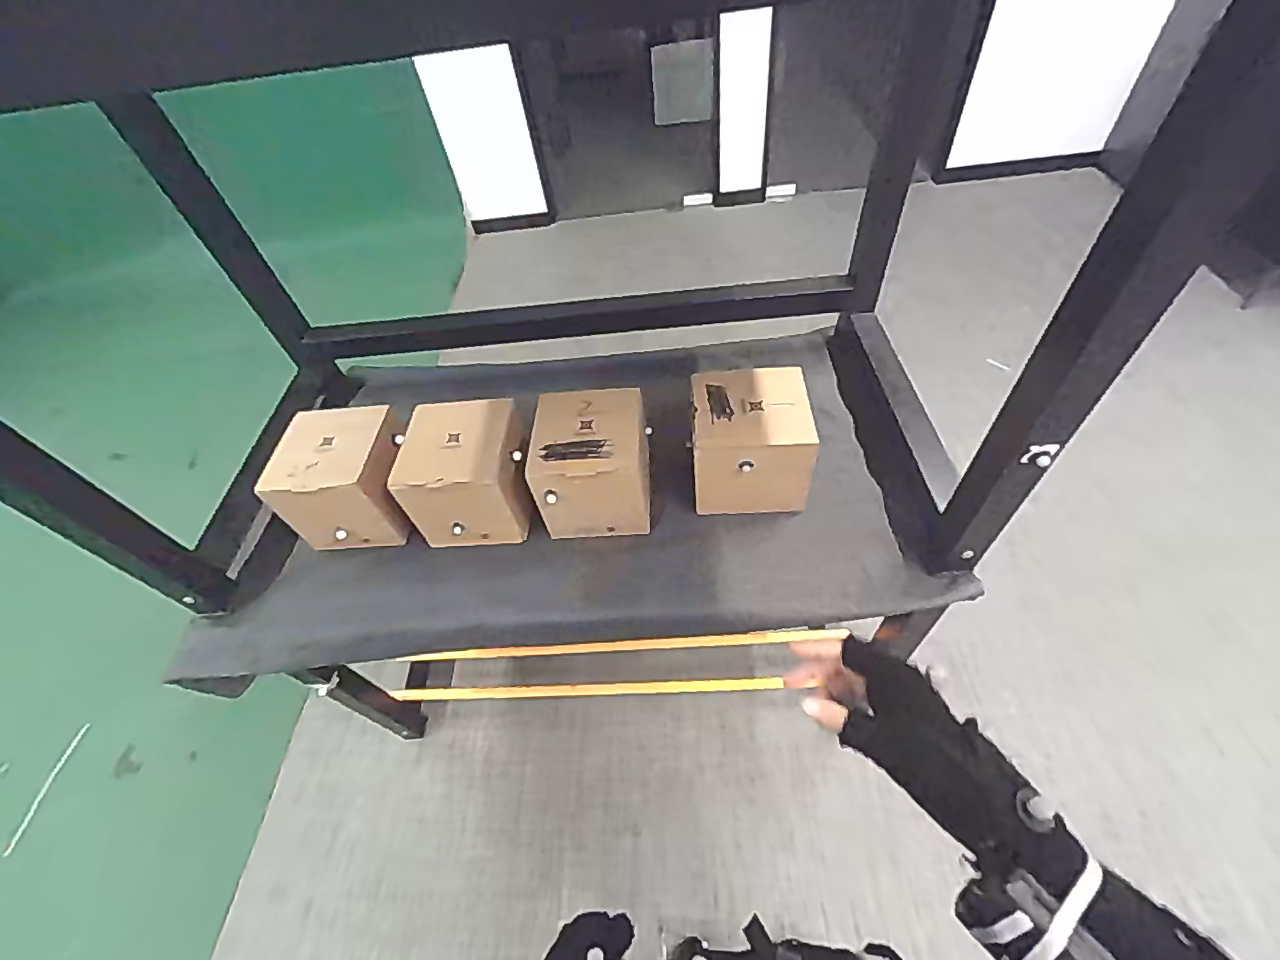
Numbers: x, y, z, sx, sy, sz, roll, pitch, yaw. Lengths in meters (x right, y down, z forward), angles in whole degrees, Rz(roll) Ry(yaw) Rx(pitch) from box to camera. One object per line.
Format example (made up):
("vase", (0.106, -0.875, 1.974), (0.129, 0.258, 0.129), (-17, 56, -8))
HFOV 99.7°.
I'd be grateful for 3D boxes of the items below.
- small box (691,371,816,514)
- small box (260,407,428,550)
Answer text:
("small box", (0.174, -0.056, 0.876), (0.179, 0.176, 0.168), (-1, 52, 5))
("small box", (-0.485, -0.001, 0.921), (0.168, 0.176, 0.179), (-4, 51, 5))
